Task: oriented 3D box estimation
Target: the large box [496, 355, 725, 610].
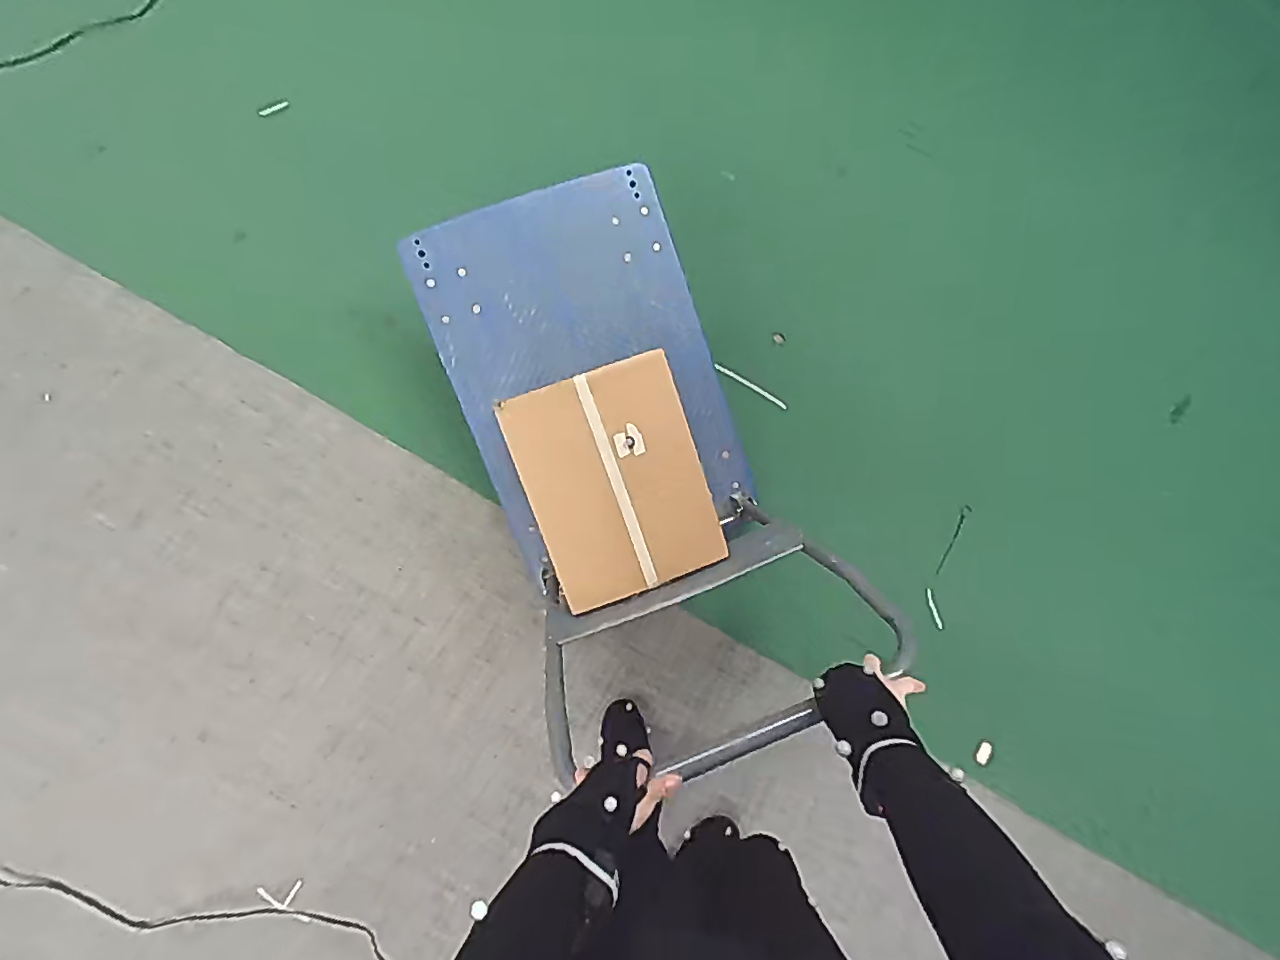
[{"bbox_3d":[-0.062,-0.006,1.136,0.320,0.320,0.408,-21,98,-5],"label":"large box"}]
